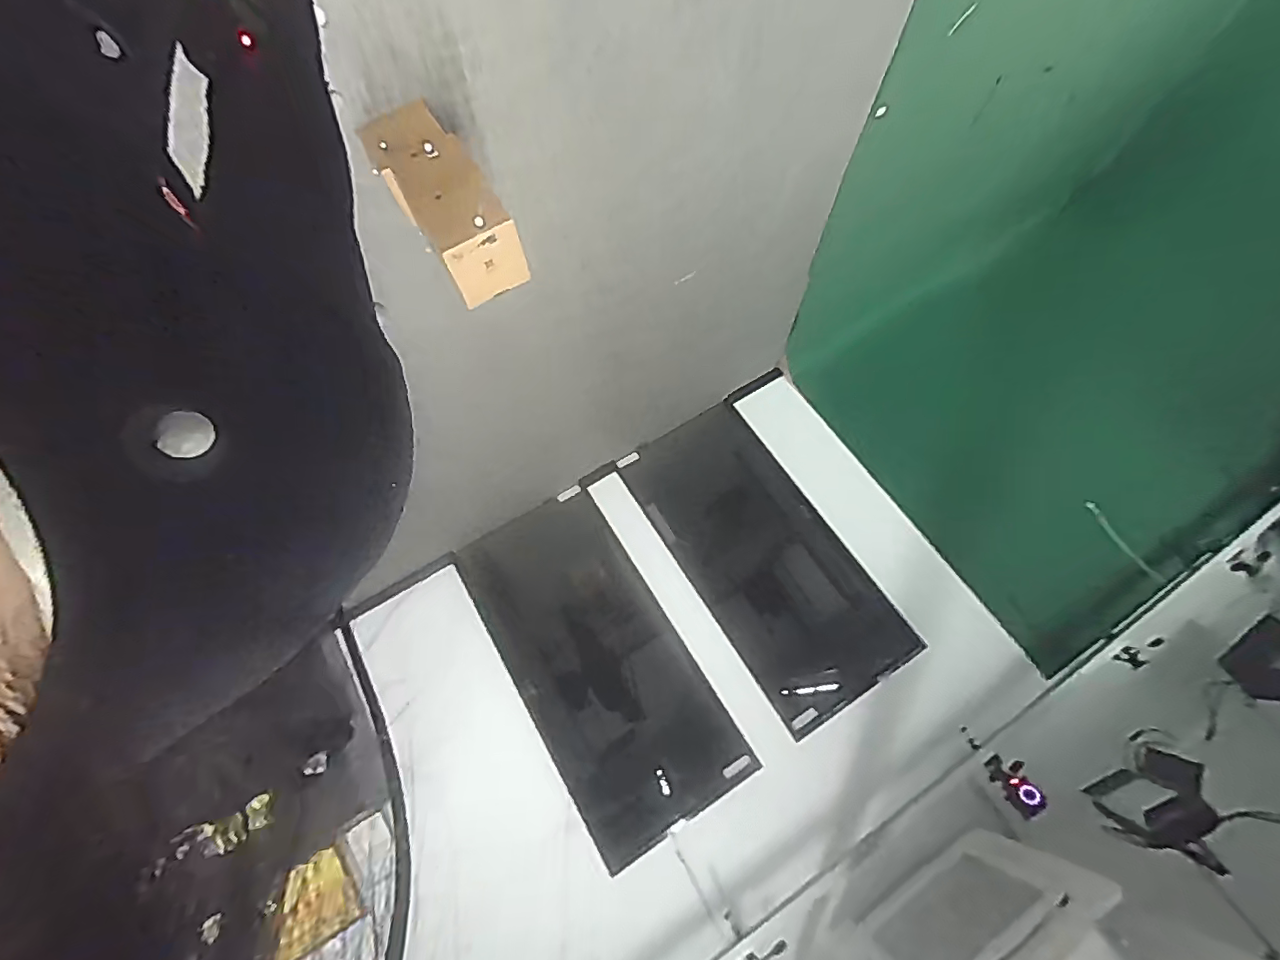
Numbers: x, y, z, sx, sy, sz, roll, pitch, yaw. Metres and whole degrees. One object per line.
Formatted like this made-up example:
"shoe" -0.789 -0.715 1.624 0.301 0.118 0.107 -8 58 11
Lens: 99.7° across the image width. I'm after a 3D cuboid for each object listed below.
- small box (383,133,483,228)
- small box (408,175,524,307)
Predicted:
"small box" -0.464 -0.660 1.265 0.168 0.176 0.179 -31 160 -10
"small box" -0.383 -0.530 1.205 0.168 0.176 0.179 -31 162 -10
